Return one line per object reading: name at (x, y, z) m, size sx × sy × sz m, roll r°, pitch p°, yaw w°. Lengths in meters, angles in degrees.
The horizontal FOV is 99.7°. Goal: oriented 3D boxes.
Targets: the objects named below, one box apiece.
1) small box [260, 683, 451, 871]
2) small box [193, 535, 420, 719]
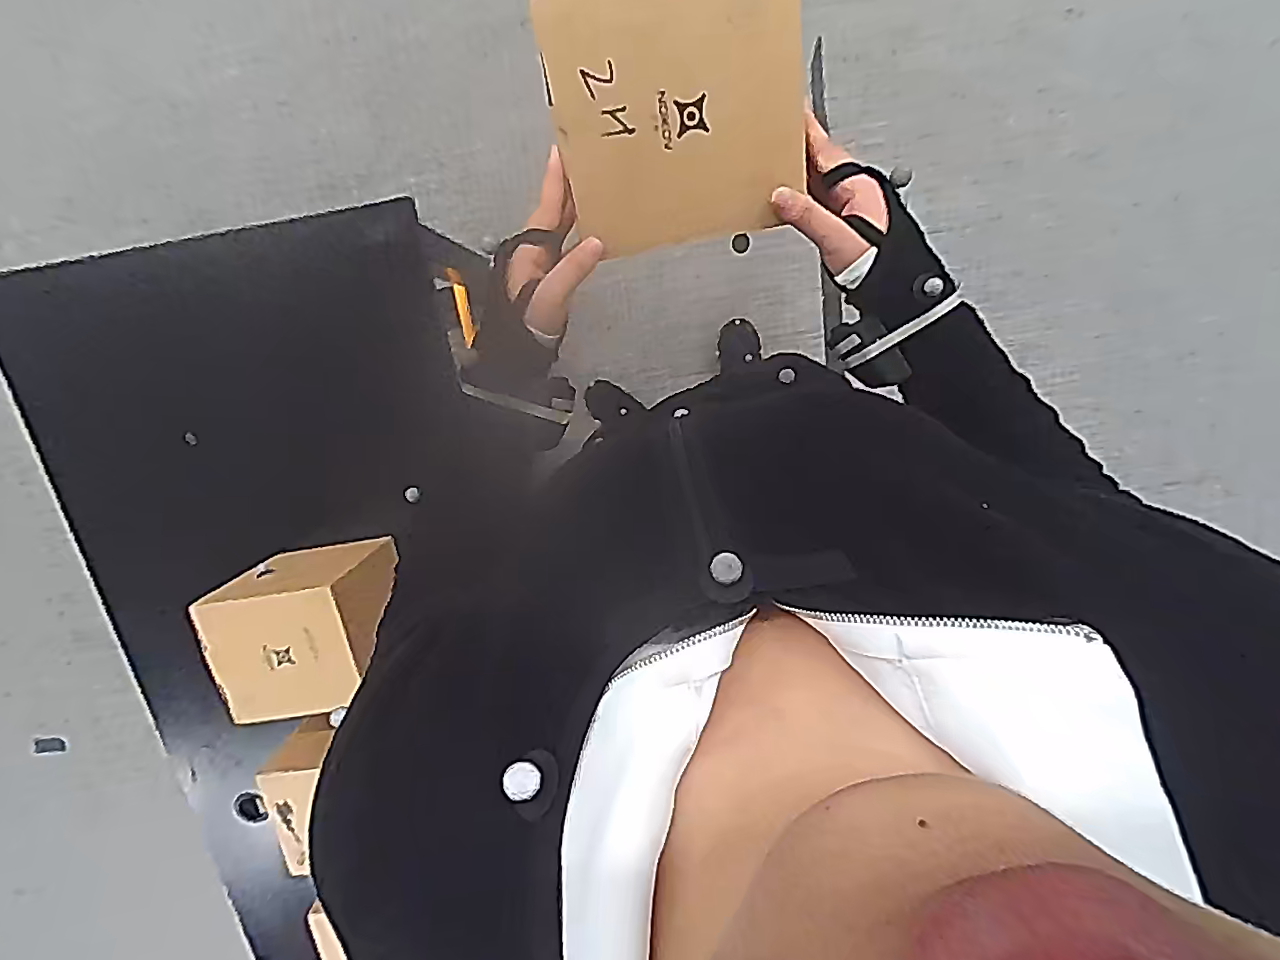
small box at (-0.391, 0.417, 0.785) m, size 0.179 × 0.176 × 0.168 m, roll -9°, pitch 102°, yaw 2°
small box at (-0.431, 0.188, 0.730) m, size 0.179 × 0.176 × 0.168 m, roll -10°, pitch 105°, yaw 2°
